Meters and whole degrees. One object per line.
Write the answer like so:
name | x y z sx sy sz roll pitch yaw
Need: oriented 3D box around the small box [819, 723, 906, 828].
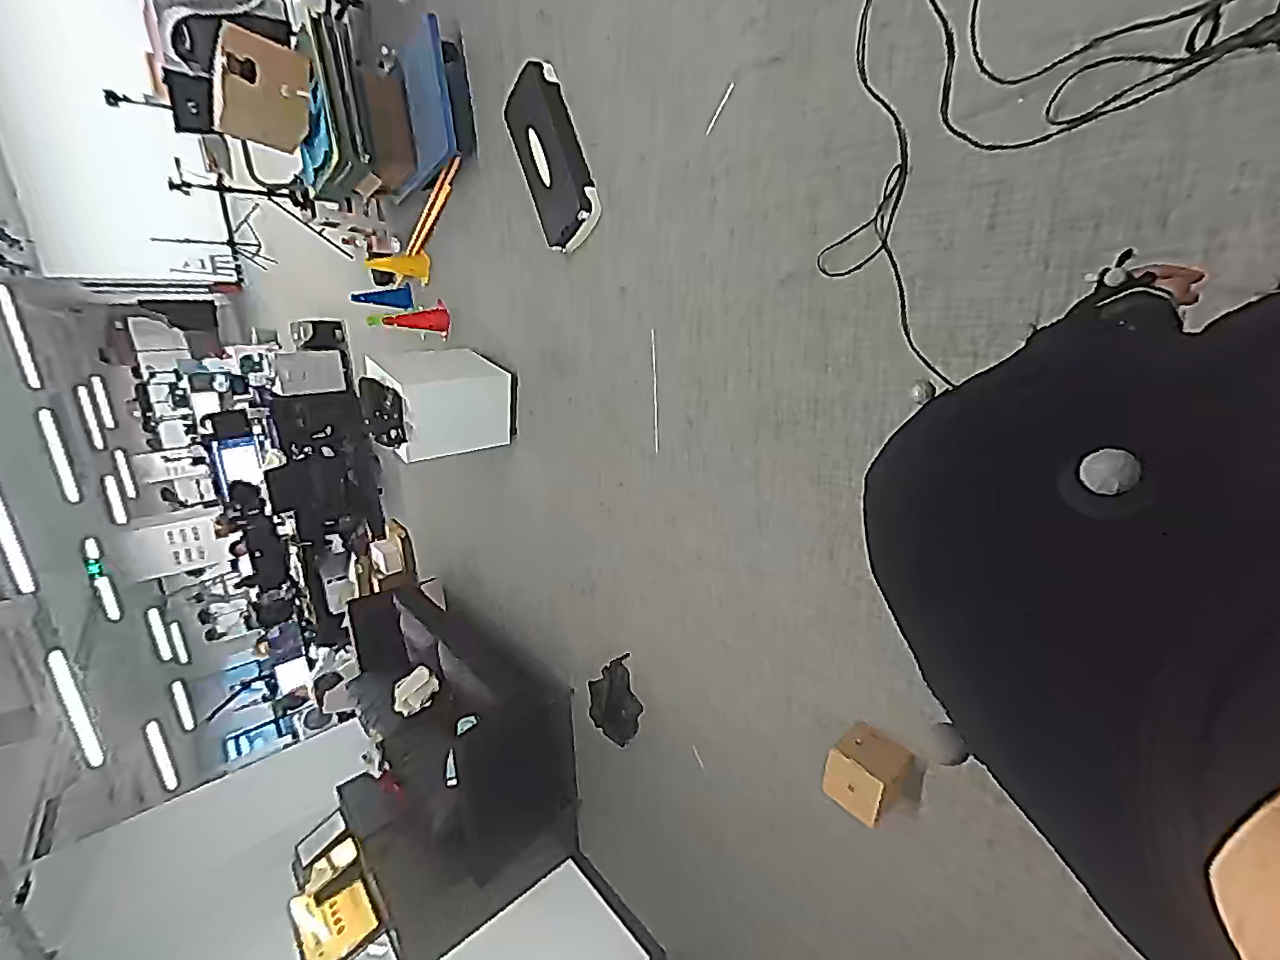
small box | 0.655 0.856 1.586 0.168 0.176 0.179 23 120 46
